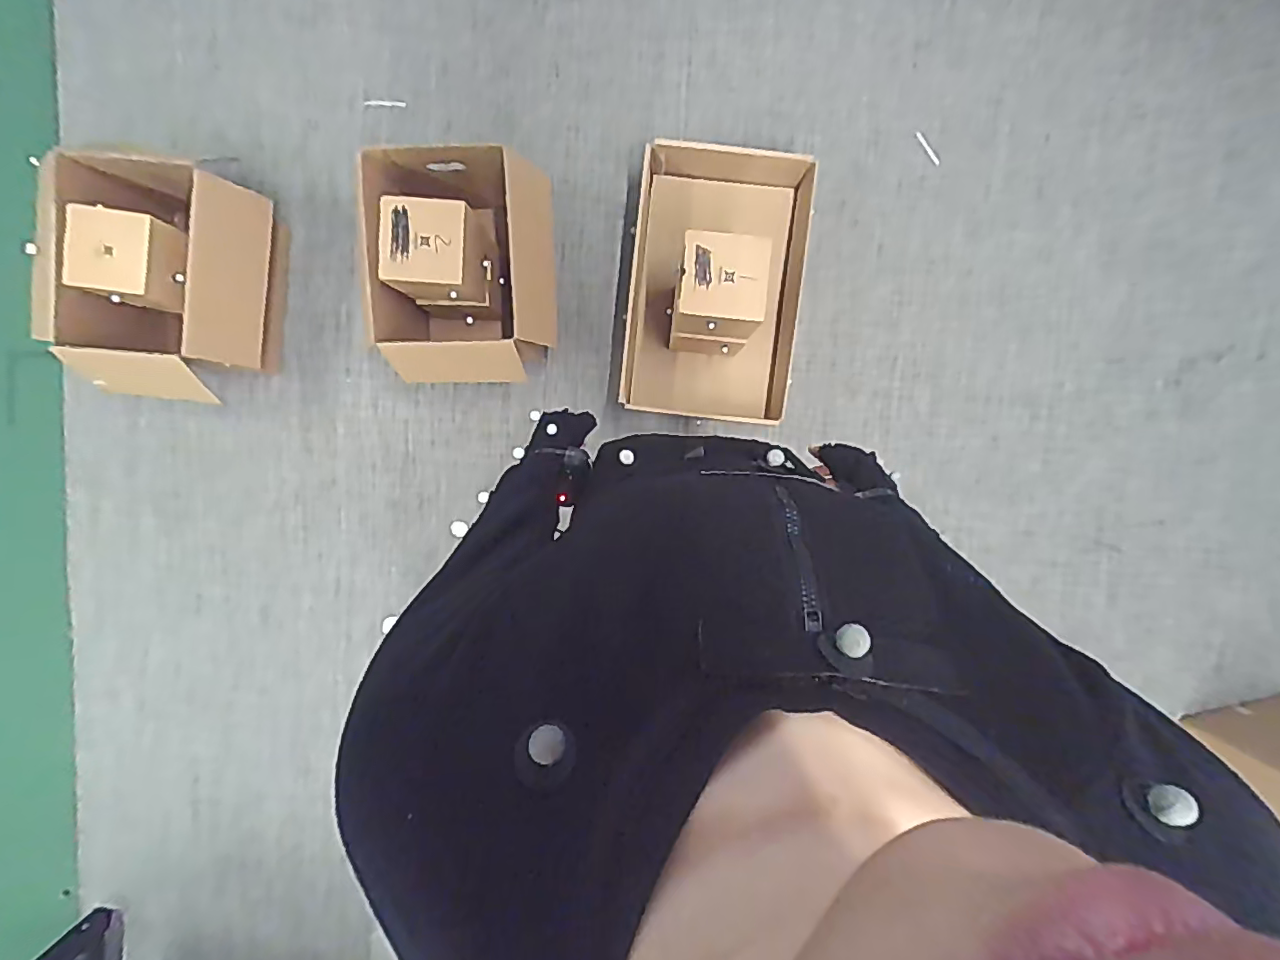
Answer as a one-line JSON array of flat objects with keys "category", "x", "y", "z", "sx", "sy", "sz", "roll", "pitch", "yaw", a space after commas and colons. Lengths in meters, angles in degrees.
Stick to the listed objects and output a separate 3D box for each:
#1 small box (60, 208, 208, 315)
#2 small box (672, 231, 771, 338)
[{"category": "small box", "x": -1.103, "y": -0.472, "z": 1.192, "sx": 0.179, "sy": 0.176, "sz": 0.168, "roll": 8, "pitch": 93, "yaw": -1}, {"category": "small box", "x": 0.164, "y": -0.406, "z": 1.151, "sx": 0.179, "sy": 0.176, "sz": 0.168, "roll": 5, "pitch": 92, "yaw": -1}]
